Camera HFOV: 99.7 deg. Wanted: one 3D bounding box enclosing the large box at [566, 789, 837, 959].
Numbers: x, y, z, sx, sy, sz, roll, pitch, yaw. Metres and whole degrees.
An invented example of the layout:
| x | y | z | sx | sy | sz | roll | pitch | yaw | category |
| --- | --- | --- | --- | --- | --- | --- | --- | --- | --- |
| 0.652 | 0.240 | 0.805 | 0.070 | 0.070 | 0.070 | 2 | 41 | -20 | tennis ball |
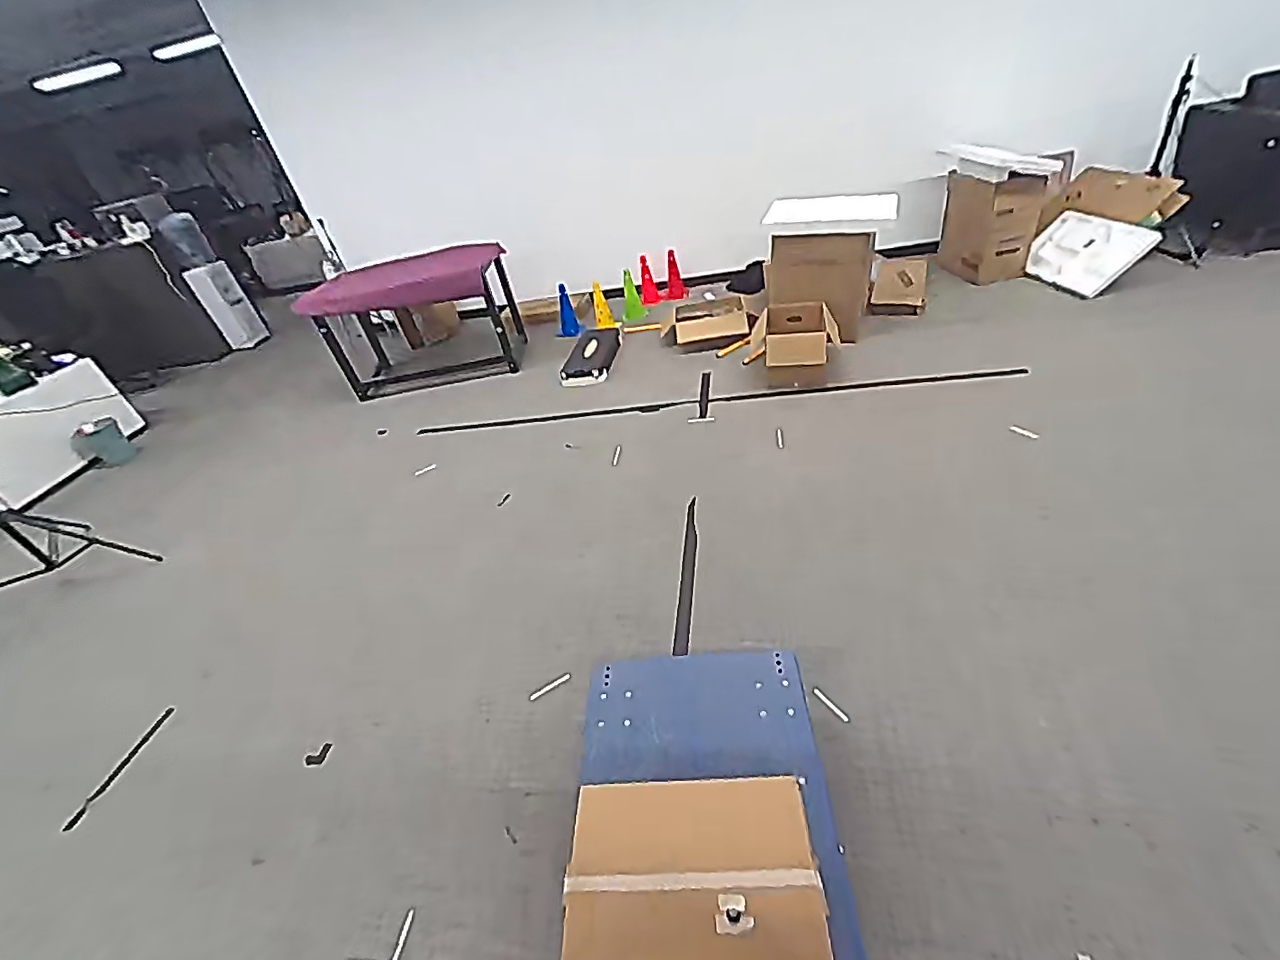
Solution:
| x | y | z | sx | sy | sz | roll | pitch | yaw | category |
| --- | --- | --- | --- | --- | --- | --- | --- | --- | --- |
| 0.107 | 0.774 | 0.933 | 0.408 | 0.320 | 0.320 | -6 | 37 | 7 | large box |
